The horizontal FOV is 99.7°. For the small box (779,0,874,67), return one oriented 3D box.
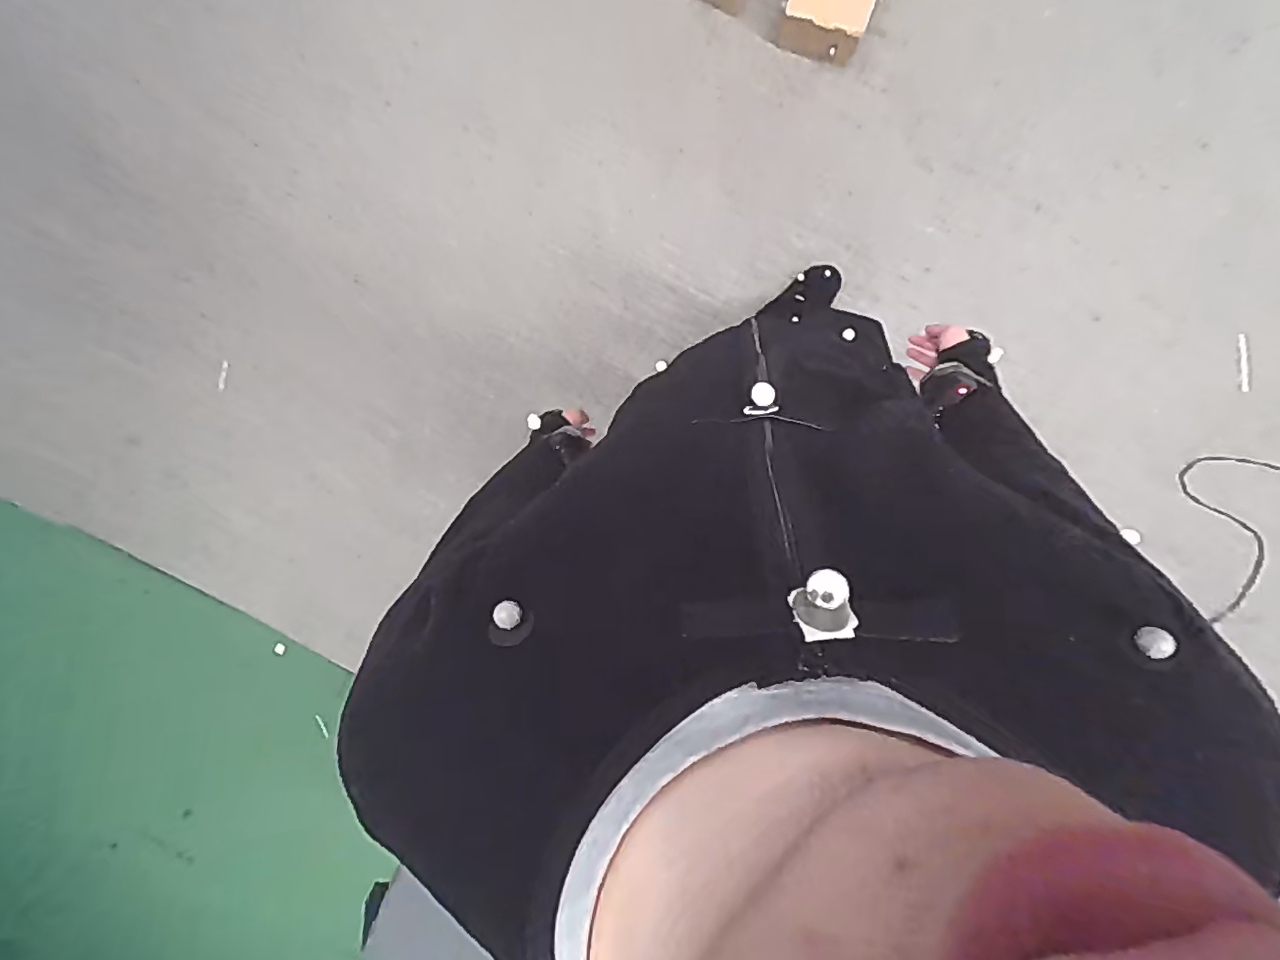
[{"bbox_3d":[0.394,-0.995,1.110,0.168,0.176,0.179,18,109,2],"label":"small box"}]

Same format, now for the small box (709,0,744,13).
[{"bbox_3d":[0.167,-1.115,1.105,0.168,0.176,0.179,26,111,0],"label":"small box"}]
